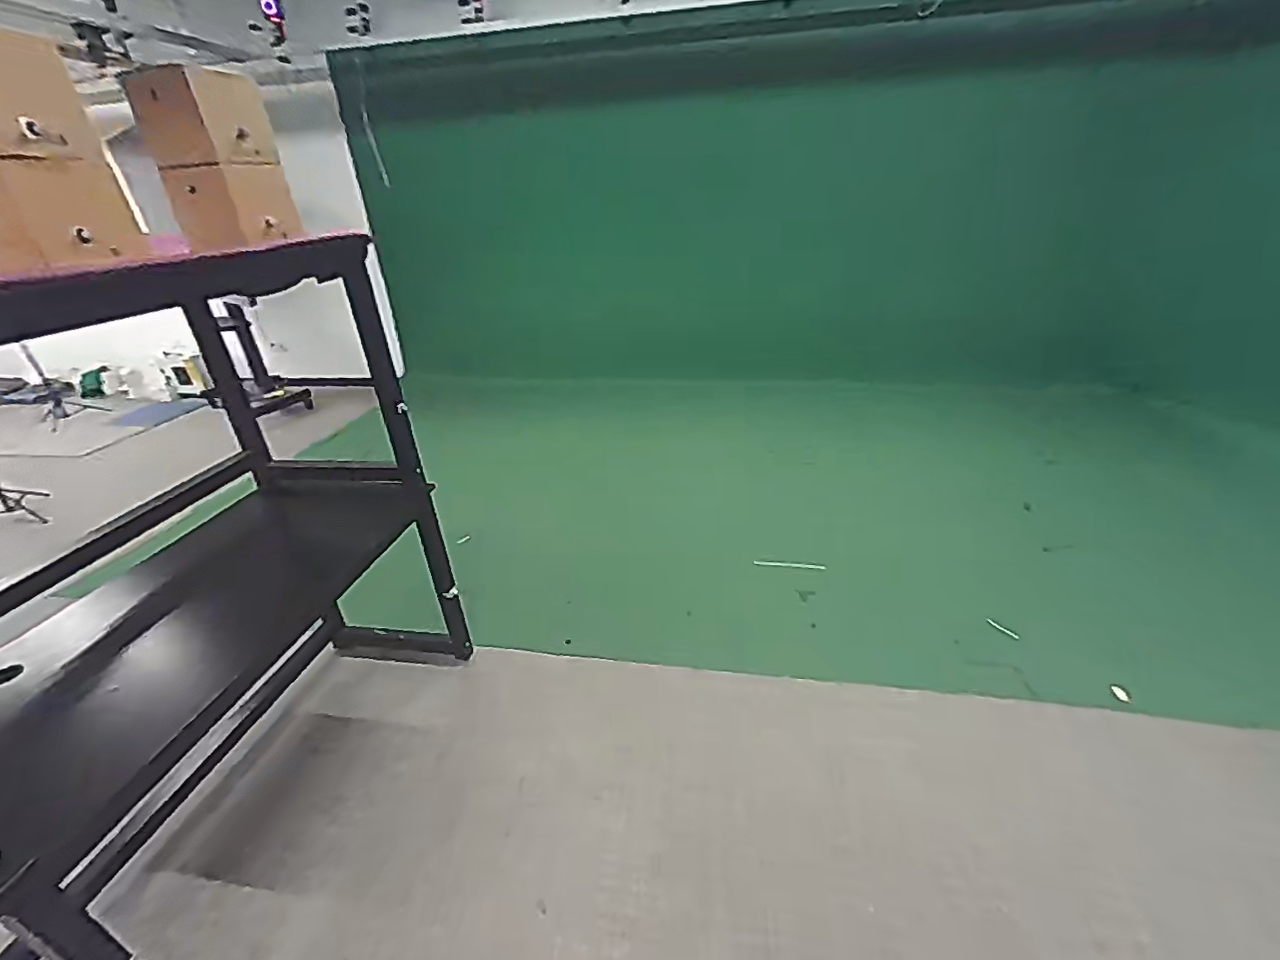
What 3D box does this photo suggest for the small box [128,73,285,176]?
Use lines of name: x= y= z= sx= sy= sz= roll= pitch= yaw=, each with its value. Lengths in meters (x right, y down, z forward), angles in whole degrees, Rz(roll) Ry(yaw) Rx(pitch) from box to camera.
small box: x=-0.923 y=-0.754 z=1.168 sx=0.179 sy=0.176 sz=0.168 roll=4 pitch=30 yaw=14

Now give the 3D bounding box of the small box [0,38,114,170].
small box: x=-0.995 y=-0.565 z=0.832 sx=0.179 sy=0.176 sz=0.168 roll=2 pitch=30 yaw=9

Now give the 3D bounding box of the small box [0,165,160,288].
small box: x=-0.986 y=-0.425 z=0.914 sx=0.179 sy=0.176 sz=0.168 roll=3 pitch=29 yaw=14

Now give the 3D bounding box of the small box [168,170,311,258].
small box: x=-0.911 y=-0.609 z=1.245 sx=0.179 sy=0.176 sz=0.168 roll=5 pitch=30 yaw=14
